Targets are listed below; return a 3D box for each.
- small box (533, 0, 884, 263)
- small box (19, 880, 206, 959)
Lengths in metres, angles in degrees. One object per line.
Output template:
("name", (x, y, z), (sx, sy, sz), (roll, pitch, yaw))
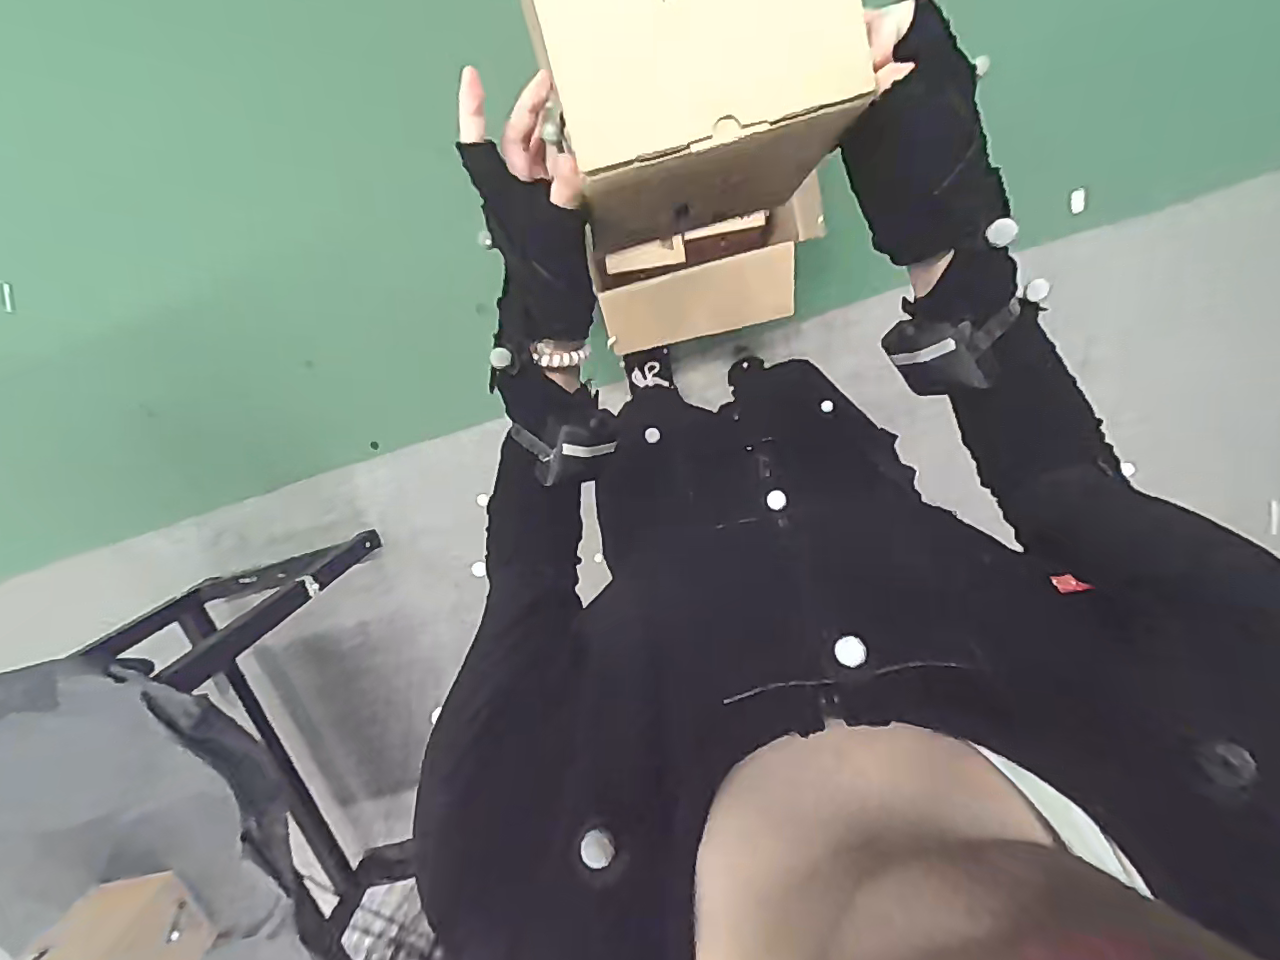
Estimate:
("small box", (0.027, -0.273, 0.362), (0.168, 0.176, 0.179), (-17, 98, 0))
("small box", (-0.889, 0.812, 0.895), (0.179, 0.176, 0.168), (-15, 105, 5))
